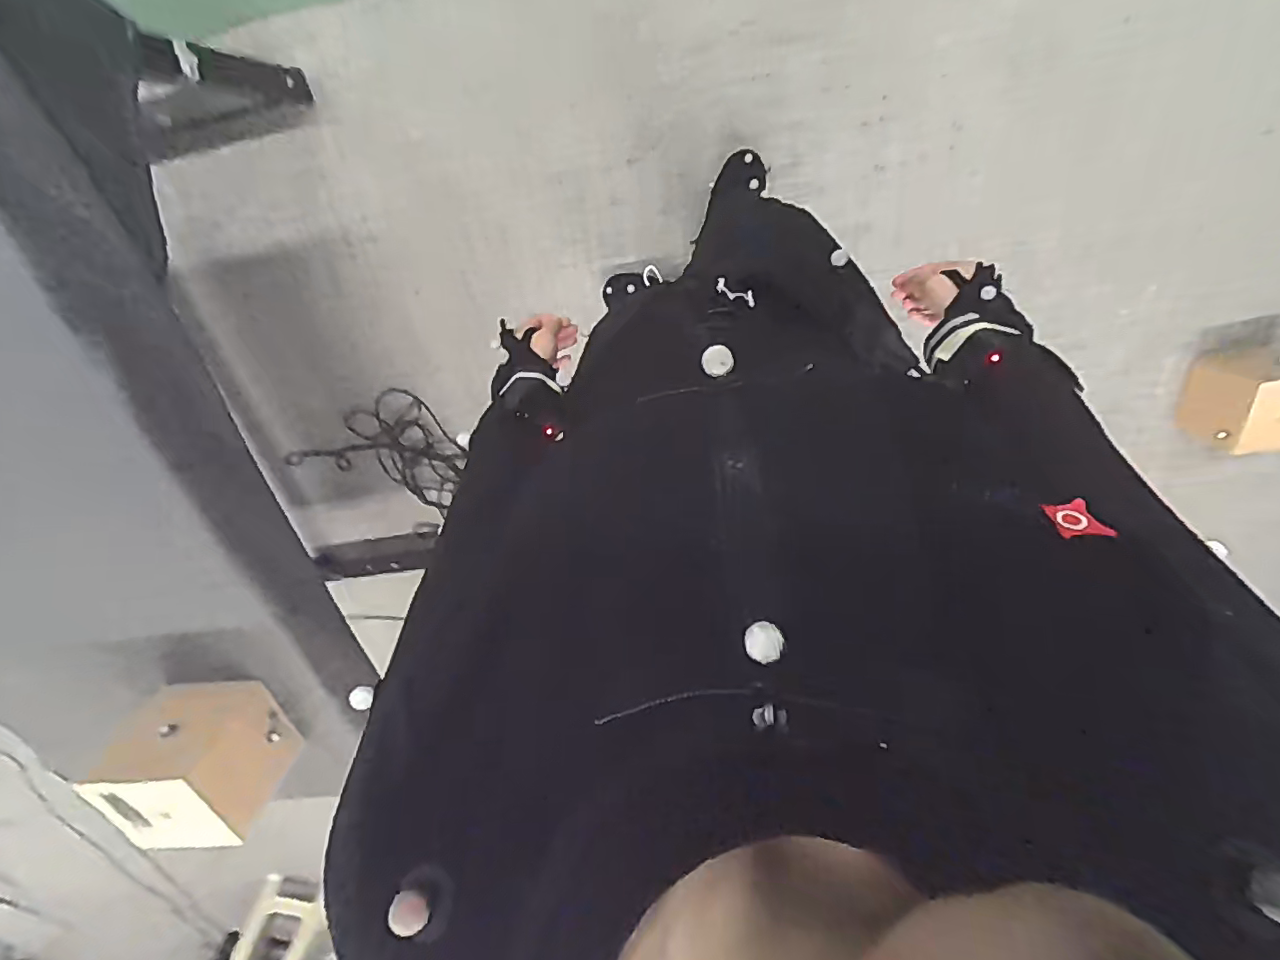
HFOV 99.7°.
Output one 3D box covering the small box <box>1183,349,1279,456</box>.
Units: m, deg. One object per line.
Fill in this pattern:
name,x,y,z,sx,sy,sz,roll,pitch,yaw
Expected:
small box,1.377,-0.180,1.203,0.168,0.176,0.179,-10,120,9
